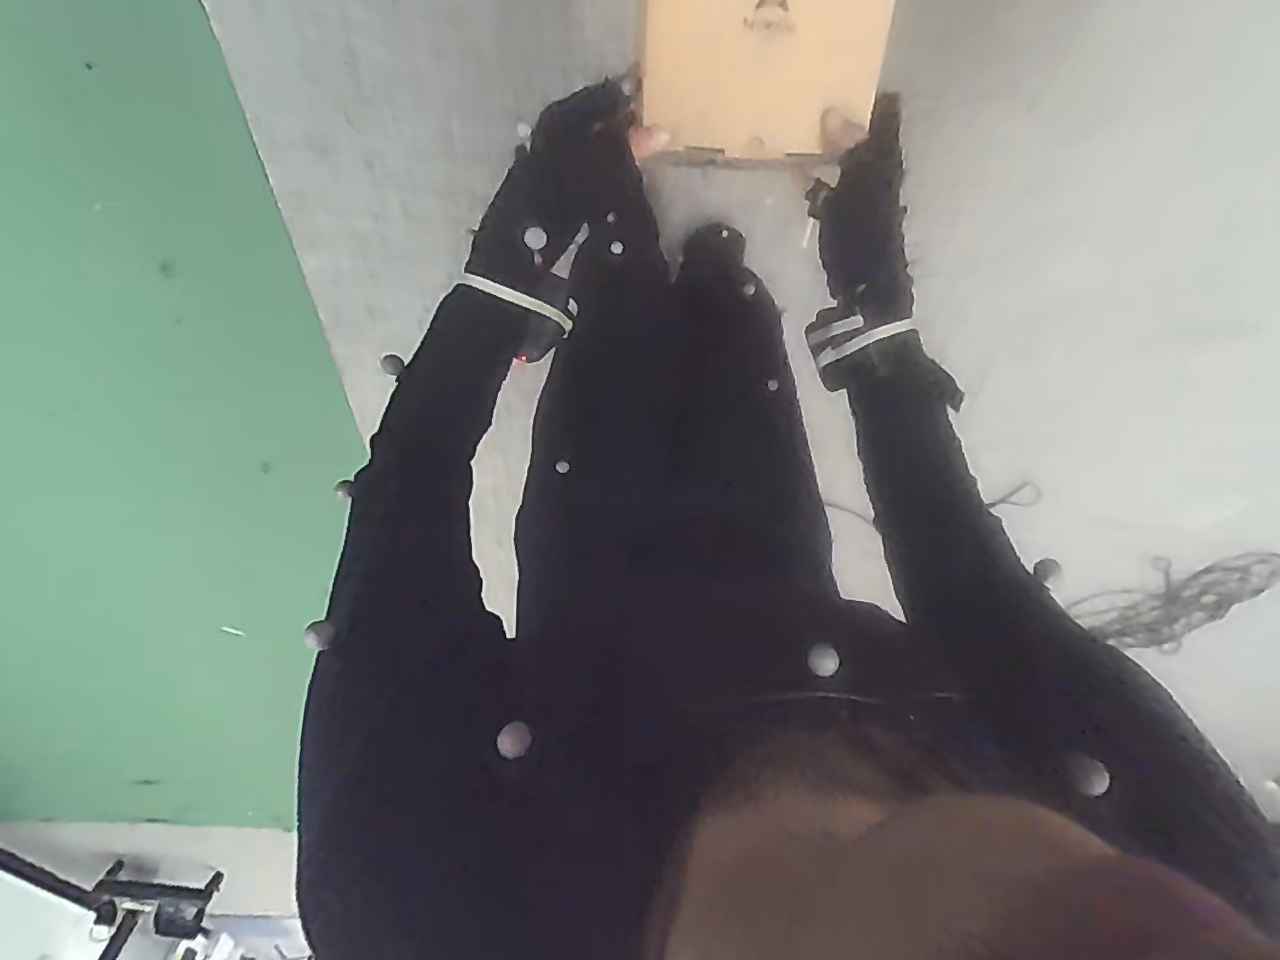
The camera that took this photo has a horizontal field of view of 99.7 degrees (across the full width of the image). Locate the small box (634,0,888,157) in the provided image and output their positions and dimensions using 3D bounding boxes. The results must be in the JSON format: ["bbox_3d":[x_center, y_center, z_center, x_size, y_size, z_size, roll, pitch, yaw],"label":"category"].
[{"bbox_3d":[0.083,-0.368,0.432,0.168,0.176,0.179,1,119,-4],"label":"small box"}]
